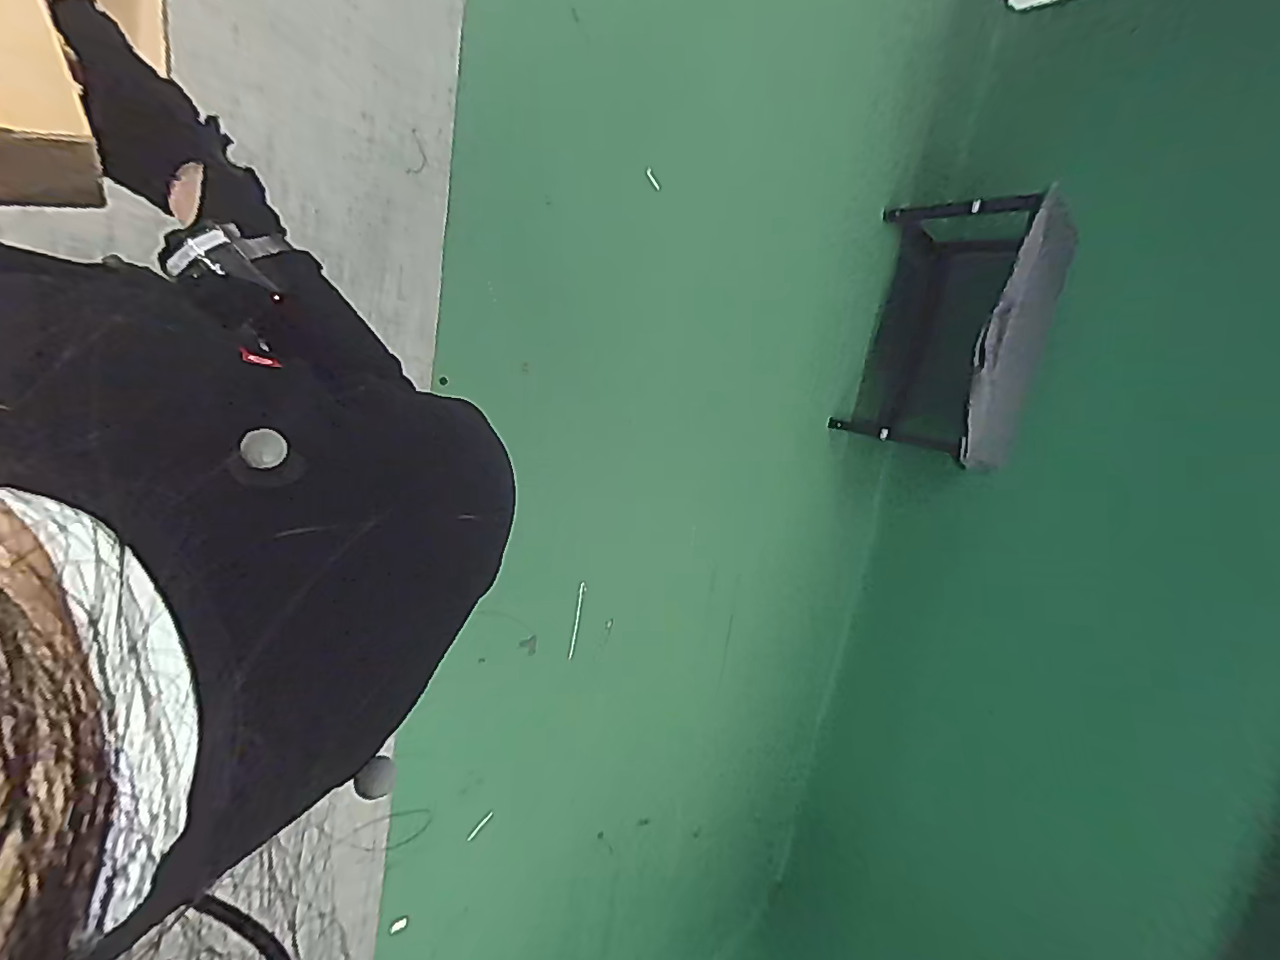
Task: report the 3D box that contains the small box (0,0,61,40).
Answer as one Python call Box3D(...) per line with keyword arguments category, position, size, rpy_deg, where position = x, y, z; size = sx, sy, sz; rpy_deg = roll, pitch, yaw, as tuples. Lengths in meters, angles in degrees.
Box3D(category="small box", position=(-0.984, -0.812, 0.798), size=(0.168, 0.176, 0.179), rpy_deg=(2, 103, -43))
